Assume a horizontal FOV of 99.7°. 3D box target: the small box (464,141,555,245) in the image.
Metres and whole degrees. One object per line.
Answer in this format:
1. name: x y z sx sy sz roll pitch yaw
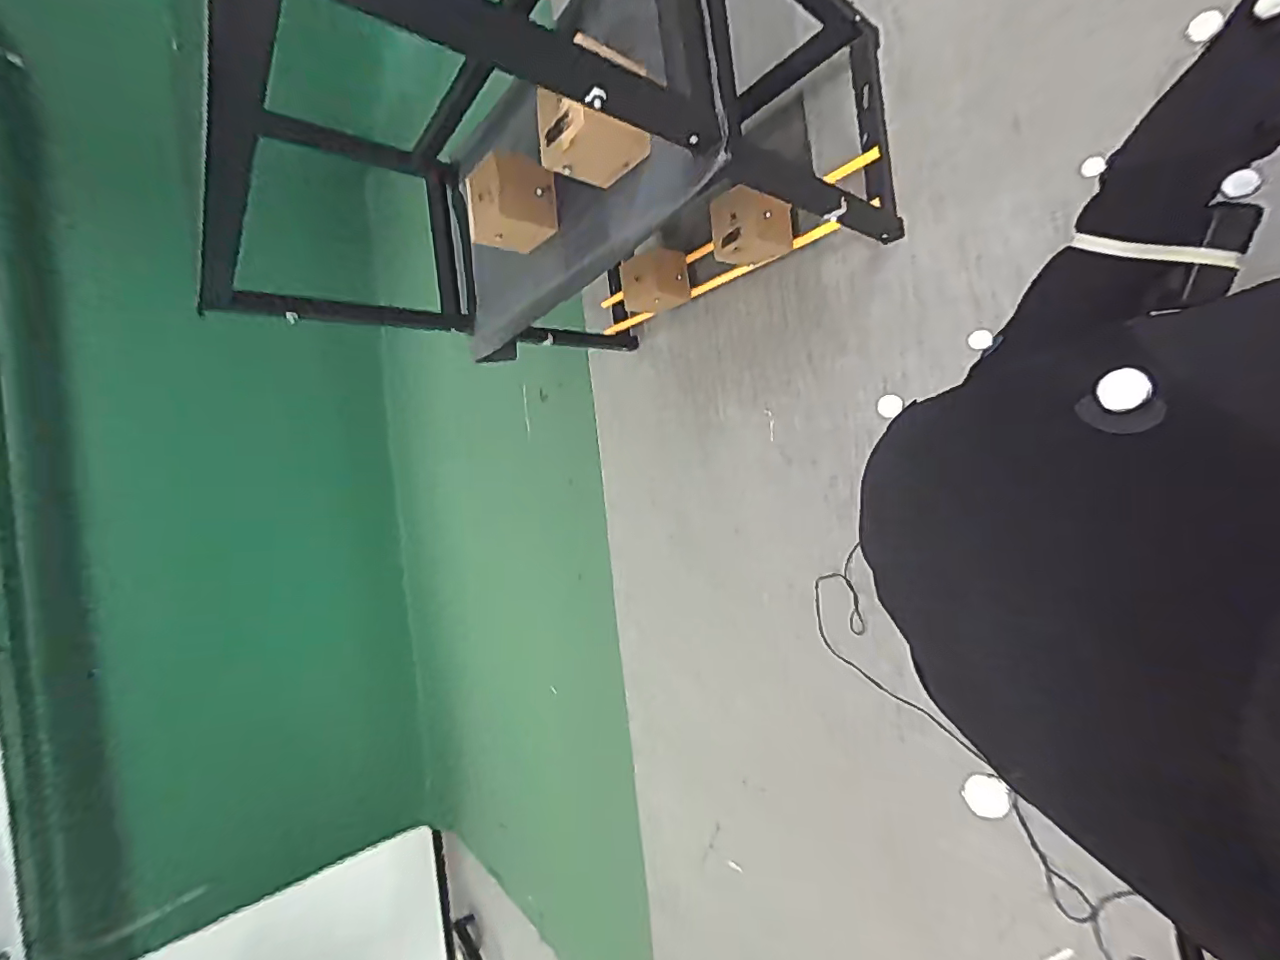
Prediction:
1. small box: -0.337 -0.730 1.400 0.179 0.176 0.168 -2 94 50

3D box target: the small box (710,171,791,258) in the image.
1. small box: 0.325 -0.762 1.580 0.168 0.176 0.179 -1 94 50
